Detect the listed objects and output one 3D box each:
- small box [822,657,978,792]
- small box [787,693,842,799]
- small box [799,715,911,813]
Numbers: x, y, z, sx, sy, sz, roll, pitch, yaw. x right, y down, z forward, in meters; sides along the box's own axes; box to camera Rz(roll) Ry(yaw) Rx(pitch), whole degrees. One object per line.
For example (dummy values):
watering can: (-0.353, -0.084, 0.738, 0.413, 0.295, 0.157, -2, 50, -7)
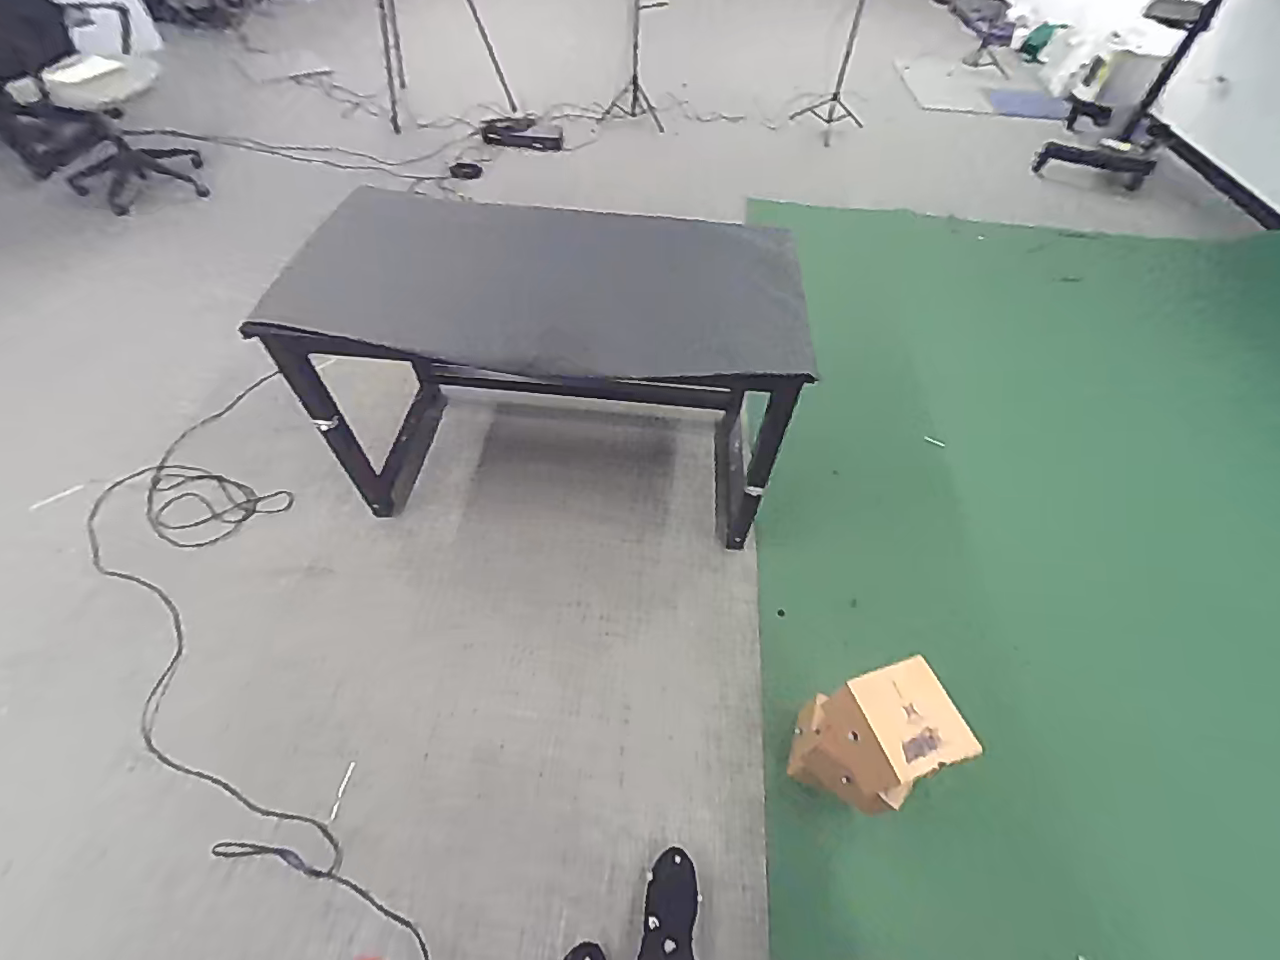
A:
small box: (0.468, 0.459, 1.005, 0.168, 0.176, 0.179, -14, 54, -11)
small box: (0.463, 0.637, 1.280, 0.179, 0.176, 0.168, 19, 56, 11)
small box: (0.461, 0.564, 1.131, 0.179, 0.176, 0.168, 38, 61, 22)
